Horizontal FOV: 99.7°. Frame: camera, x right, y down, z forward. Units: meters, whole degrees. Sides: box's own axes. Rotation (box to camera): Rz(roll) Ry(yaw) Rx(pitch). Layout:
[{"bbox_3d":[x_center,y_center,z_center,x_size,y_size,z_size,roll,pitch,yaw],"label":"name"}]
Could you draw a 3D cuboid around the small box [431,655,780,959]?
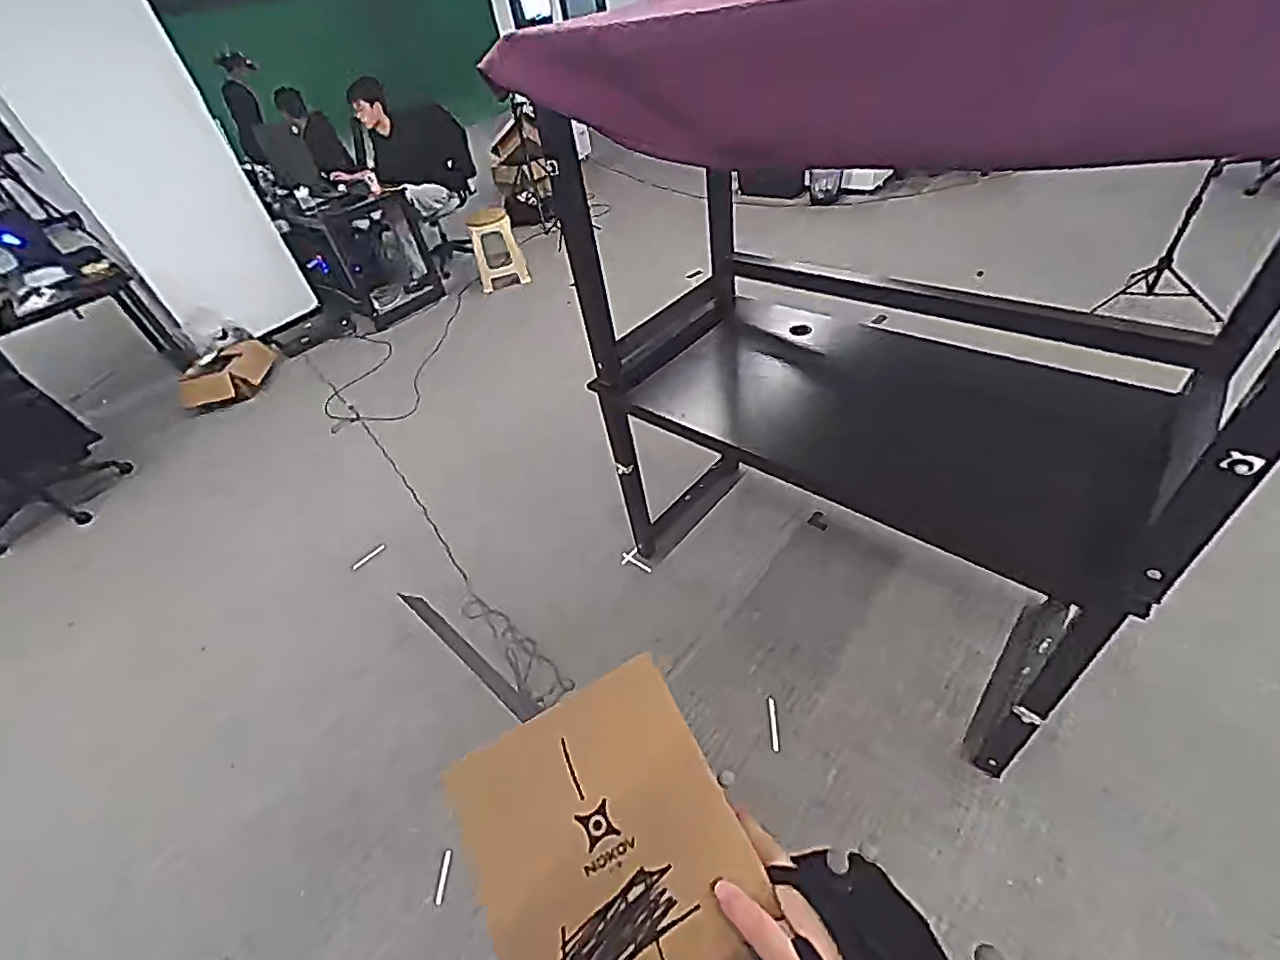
[{"bbox_3d":[-0.021,0.258,0.407,0.168,0.176,0.179,-29,65,-9],"label":"small box"}]
